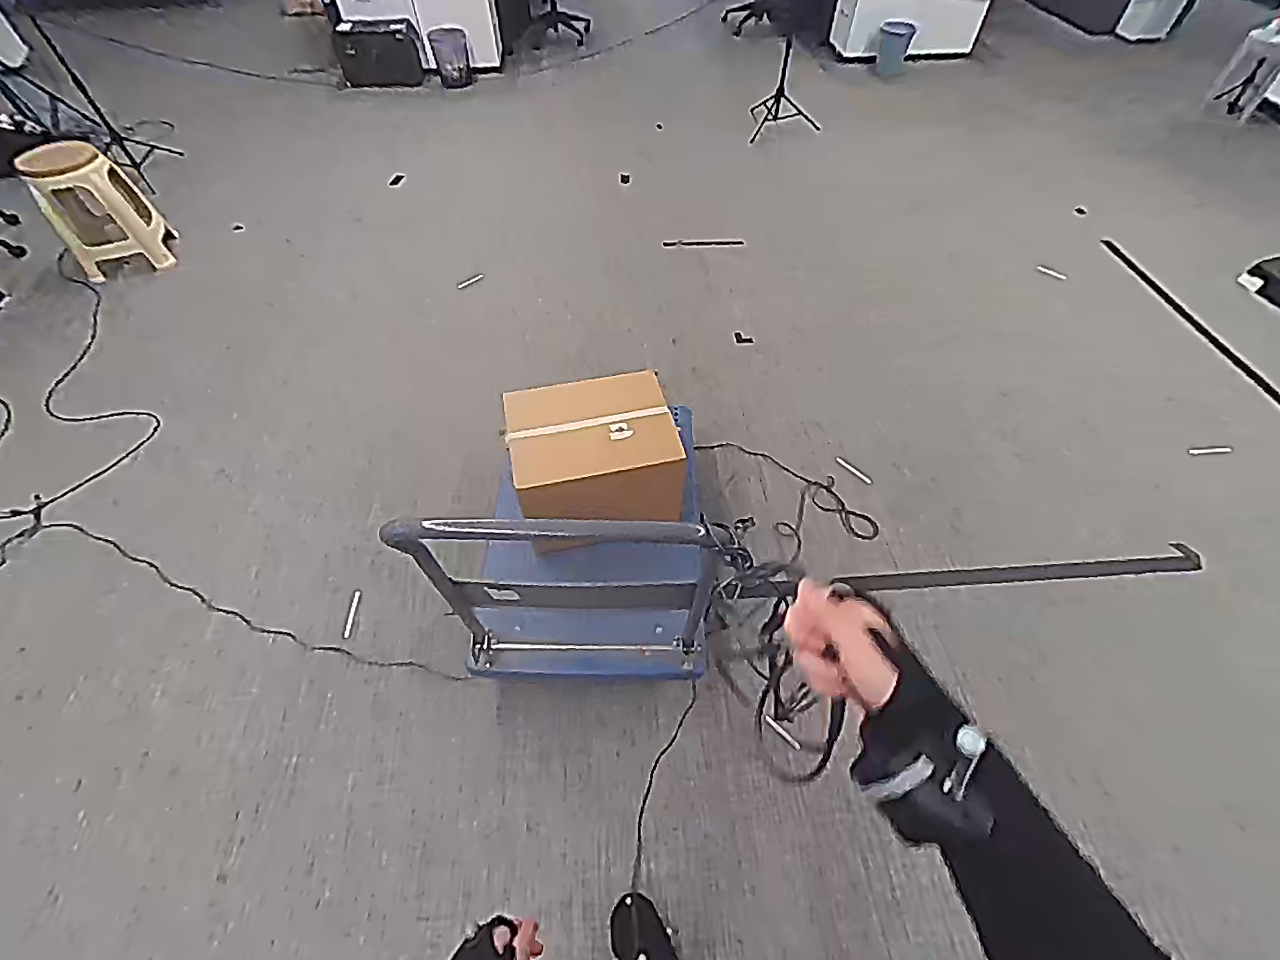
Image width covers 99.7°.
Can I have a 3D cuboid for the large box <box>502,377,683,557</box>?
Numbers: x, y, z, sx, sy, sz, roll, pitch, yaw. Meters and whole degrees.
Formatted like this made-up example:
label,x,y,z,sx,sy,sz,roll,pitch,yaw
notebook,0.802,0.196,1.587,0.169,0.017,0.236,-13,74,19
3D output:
label,x,y,z,sx,sy,sz,roll,pitch,yaw
large box,-0.129,-0.032,1.443,0.408,0.320,0.320,-11,55,-9
